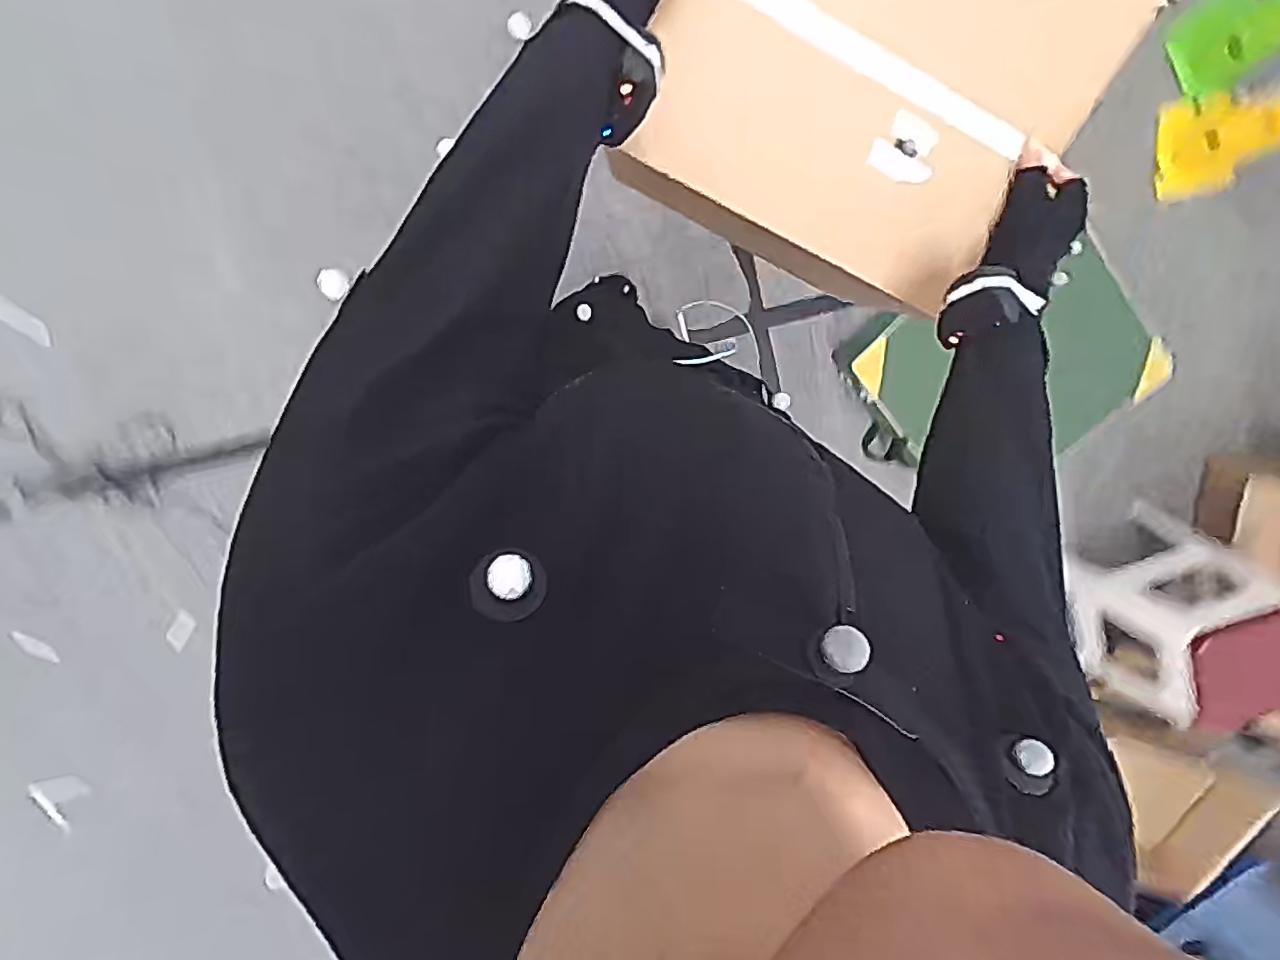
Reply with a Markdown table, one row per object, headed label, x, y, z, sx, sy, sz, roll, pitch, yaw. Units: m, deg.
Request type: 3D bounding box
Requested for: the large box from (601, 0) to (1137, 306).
| label | x | y | z | sx | sy | sz | roll | pitch | yaw |
| --- | --- | --- | --- | --- | --- | --- | --- | --- | --- |
| large box | 0.199 | -0.441 | 0.623 | 0.408 | 0.320 | 0.320 | 22 | 113 | -10 |
